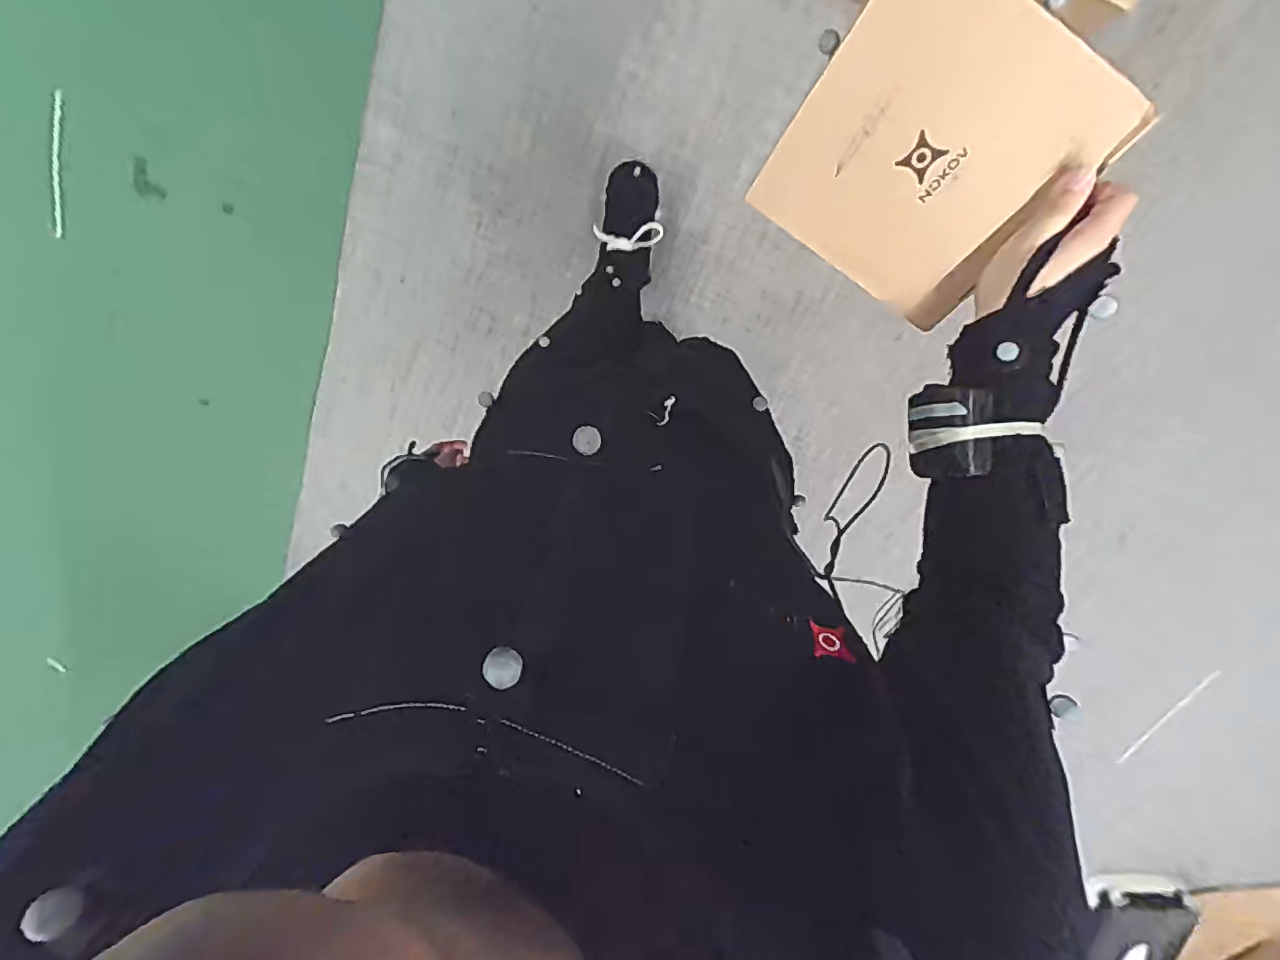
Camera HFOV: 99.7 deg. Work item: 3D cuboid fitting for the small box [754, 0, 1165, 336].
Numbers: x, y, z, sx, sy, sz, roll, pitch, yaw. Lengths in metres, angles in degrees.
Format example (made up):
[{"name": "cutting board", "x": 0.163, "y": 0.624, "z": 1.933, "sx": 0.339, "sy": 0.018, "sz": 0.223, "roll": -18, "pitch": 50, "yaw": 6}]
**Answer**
[{"name": "small box", "x": 0.216, "y": -0.249, "z": 0.407, "sx": 0.179, "sy": 0.176, "sz": 0.168, "roll": 34, "pitch": 132, "yaw": -5}]
